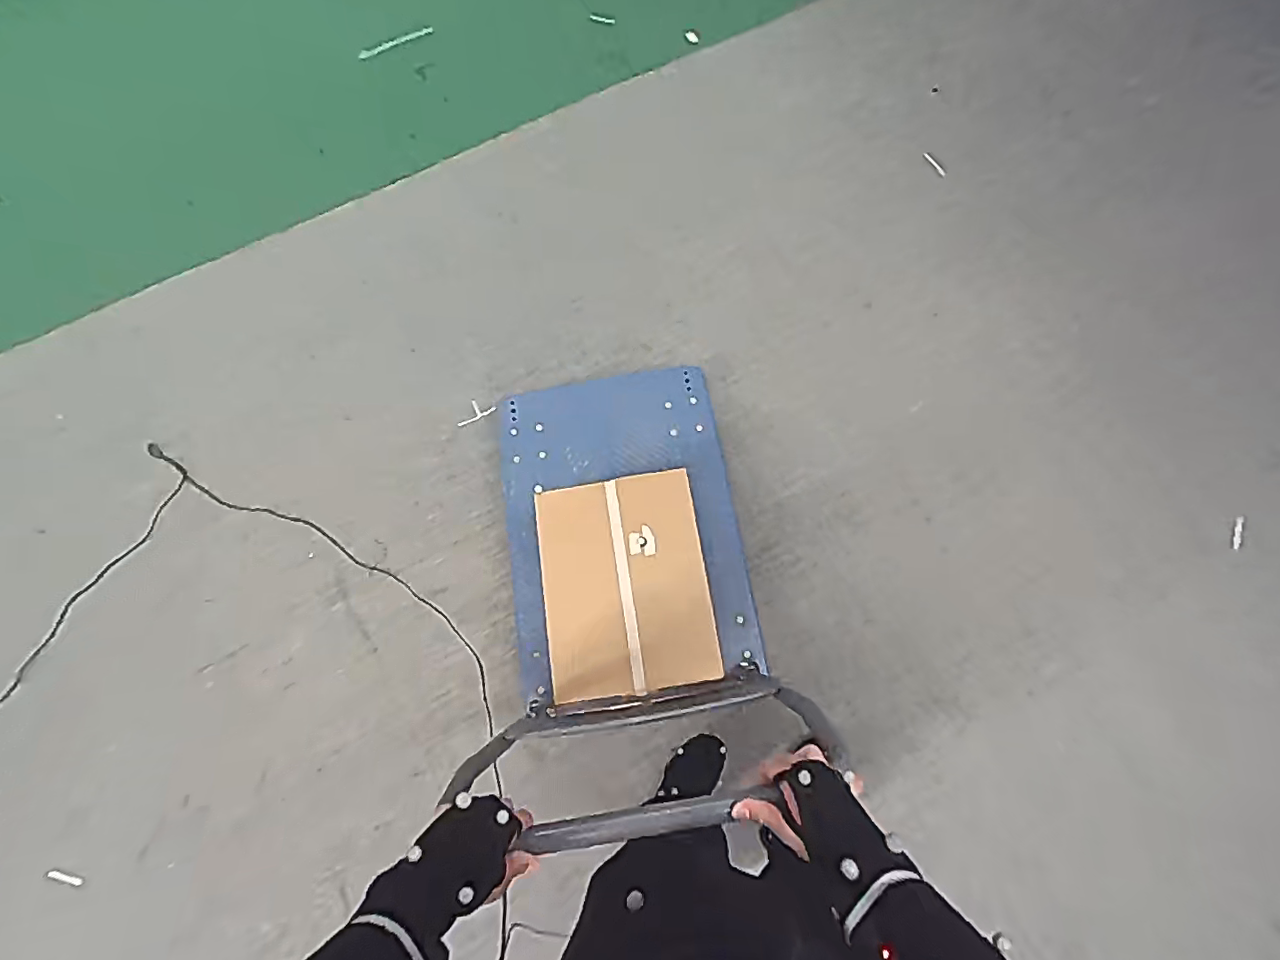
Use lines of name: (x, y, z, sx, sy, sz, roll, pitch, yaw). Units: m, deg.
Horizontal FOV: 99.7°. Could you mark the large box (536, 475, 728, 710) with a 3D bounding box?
large box: (-0.015, 0.248, 1.171, 0.320, 0.320, 0.408, -10, 72, 0)
